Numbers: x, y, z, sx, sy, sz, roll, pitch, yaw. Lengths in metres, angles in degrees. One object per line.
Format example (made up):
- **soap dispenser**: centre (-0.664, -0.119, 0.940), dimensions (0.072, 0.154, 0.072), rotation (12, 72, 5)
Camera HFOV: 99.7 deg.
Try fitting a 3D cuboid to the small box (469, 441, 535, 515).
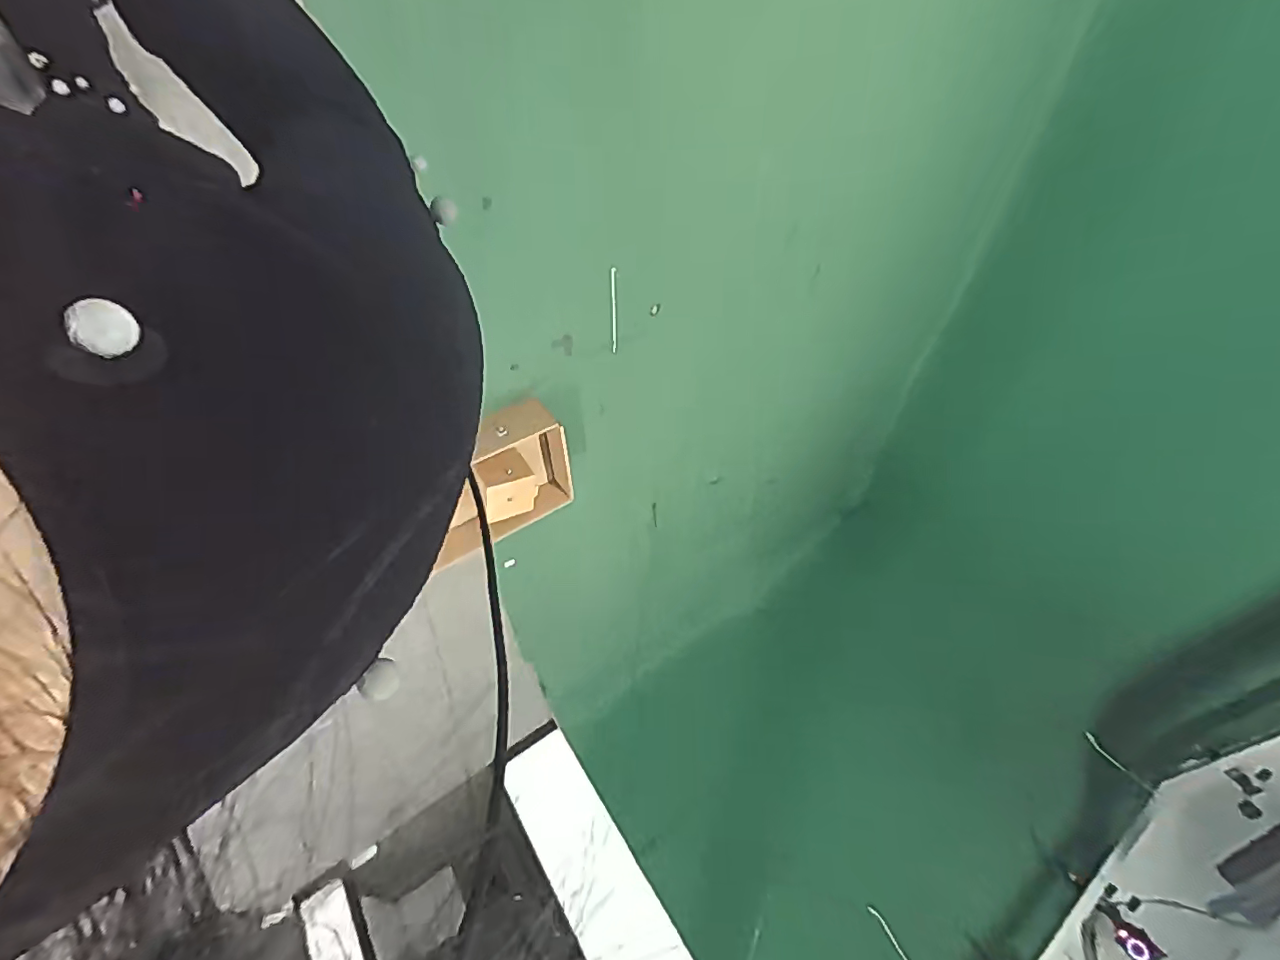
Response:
- **small box**: centre (-0.481, -0.012, 1.857), dimensions (0.179, 0.176, 0.168), rotation (-18, 140, -31)
